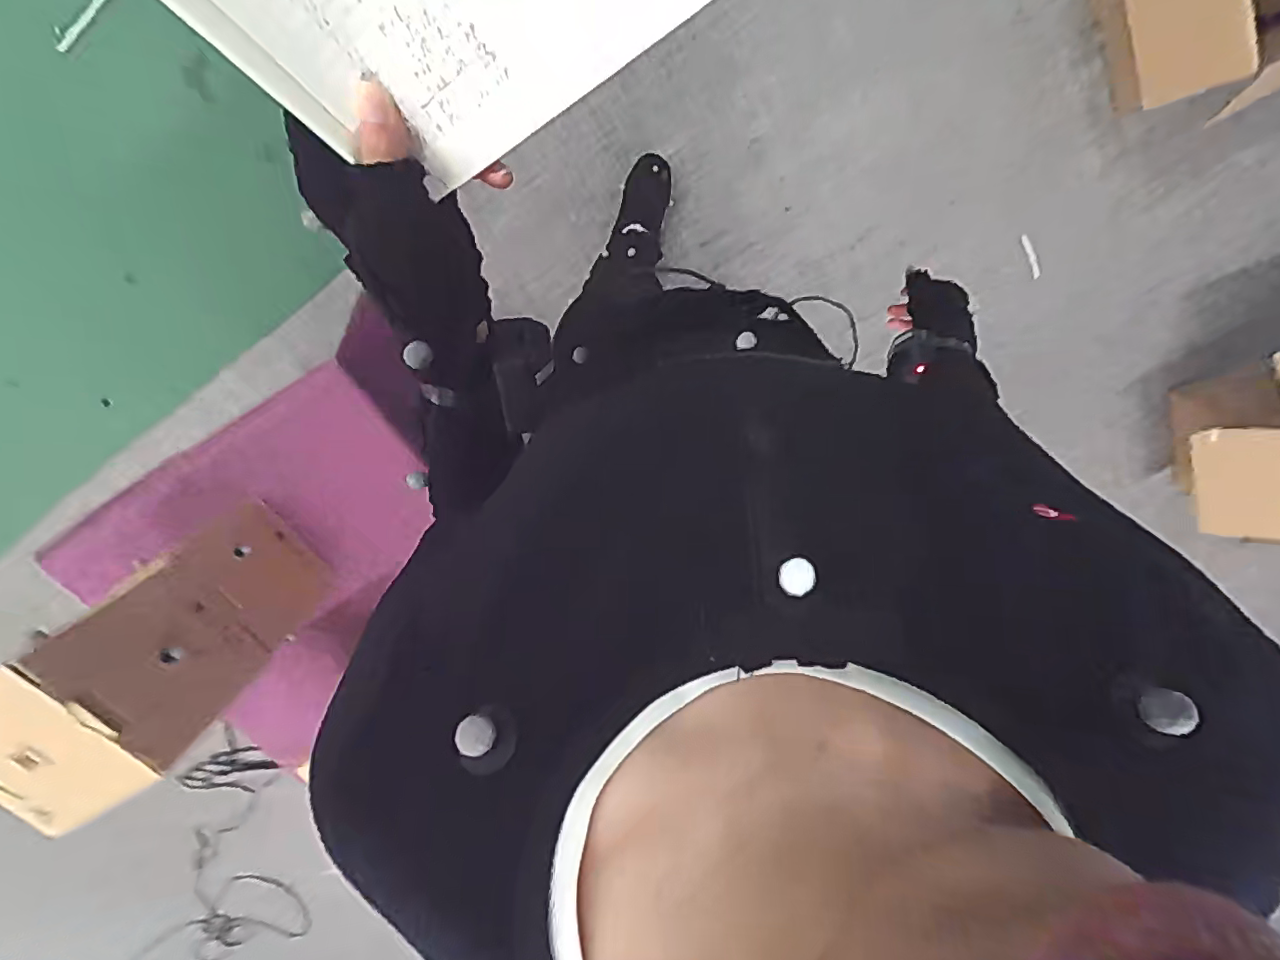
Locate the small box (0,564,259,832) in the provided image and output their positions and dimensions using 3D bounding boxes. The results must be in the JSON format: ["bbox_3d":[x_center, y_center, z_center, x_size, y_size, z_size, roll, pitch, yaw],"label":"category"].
[{"bbox_3d":[-0.558,0.220,0.575,0.179,0.176,0.168,-30,109,12],"label":"small box"}]

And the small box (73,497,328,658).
[{"bbox_3d":[-0.560,0.150,0.724,0.179,0.176,0.168,-29,110,13],"label":"small box"}]
